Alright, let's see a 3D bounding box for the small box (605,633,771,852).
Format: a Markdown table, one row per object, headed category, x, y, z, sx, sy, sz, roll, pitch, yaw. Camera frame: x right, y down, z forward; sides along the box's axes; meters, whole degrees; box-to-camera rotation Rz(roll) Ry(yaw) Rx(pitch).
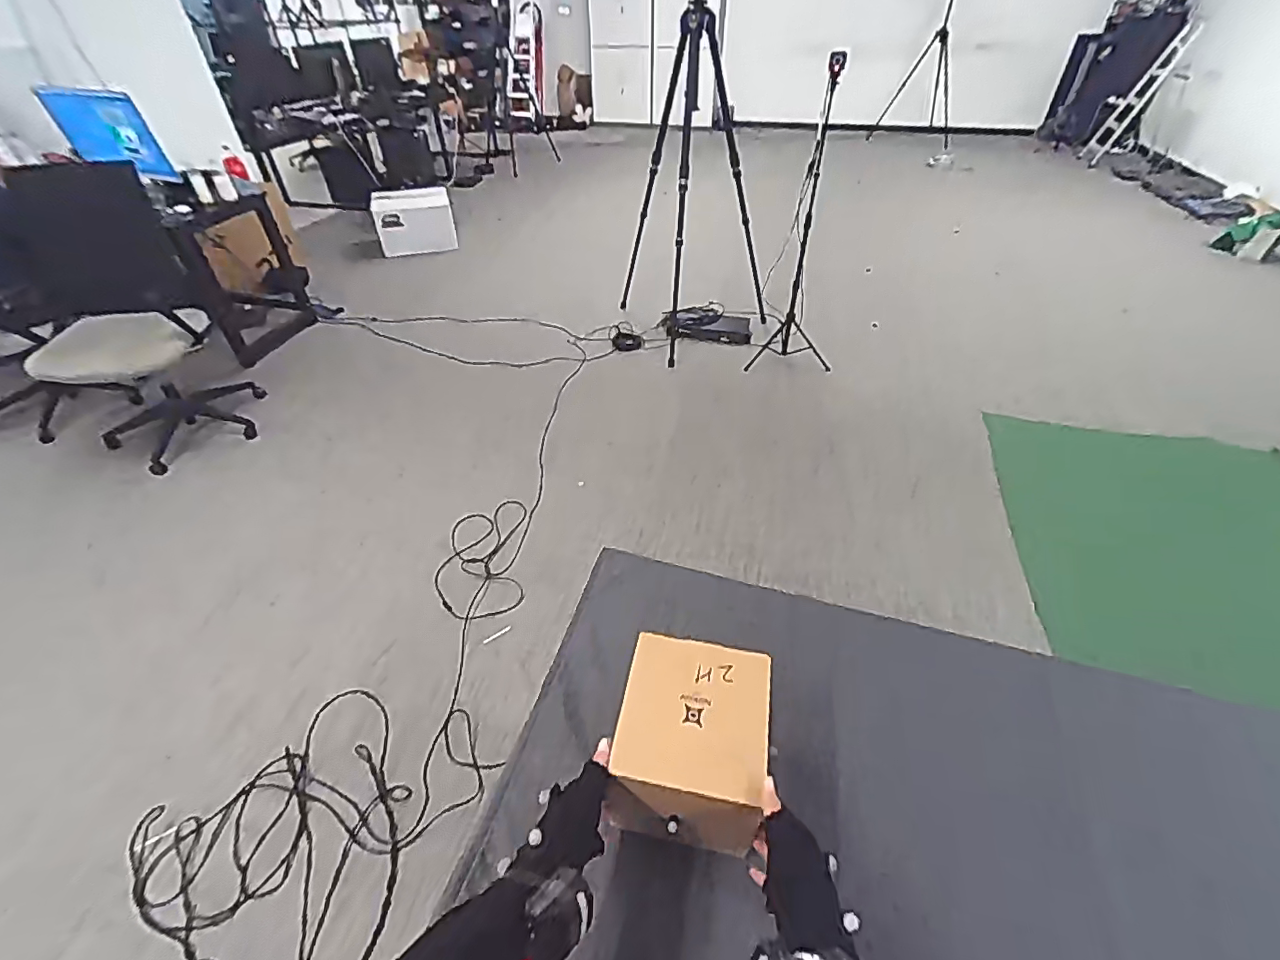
| category | x | y | z | sx | sy | sz | roll | pitch | yaw |
| --- | --- | --- | --- | --- | --- | --- | --- | --- | --- |
| small box | 0.062 | 0.320 | 0.660 | 0.168 | 0.176 | 0.179 | 8 | 41 | 9 |
